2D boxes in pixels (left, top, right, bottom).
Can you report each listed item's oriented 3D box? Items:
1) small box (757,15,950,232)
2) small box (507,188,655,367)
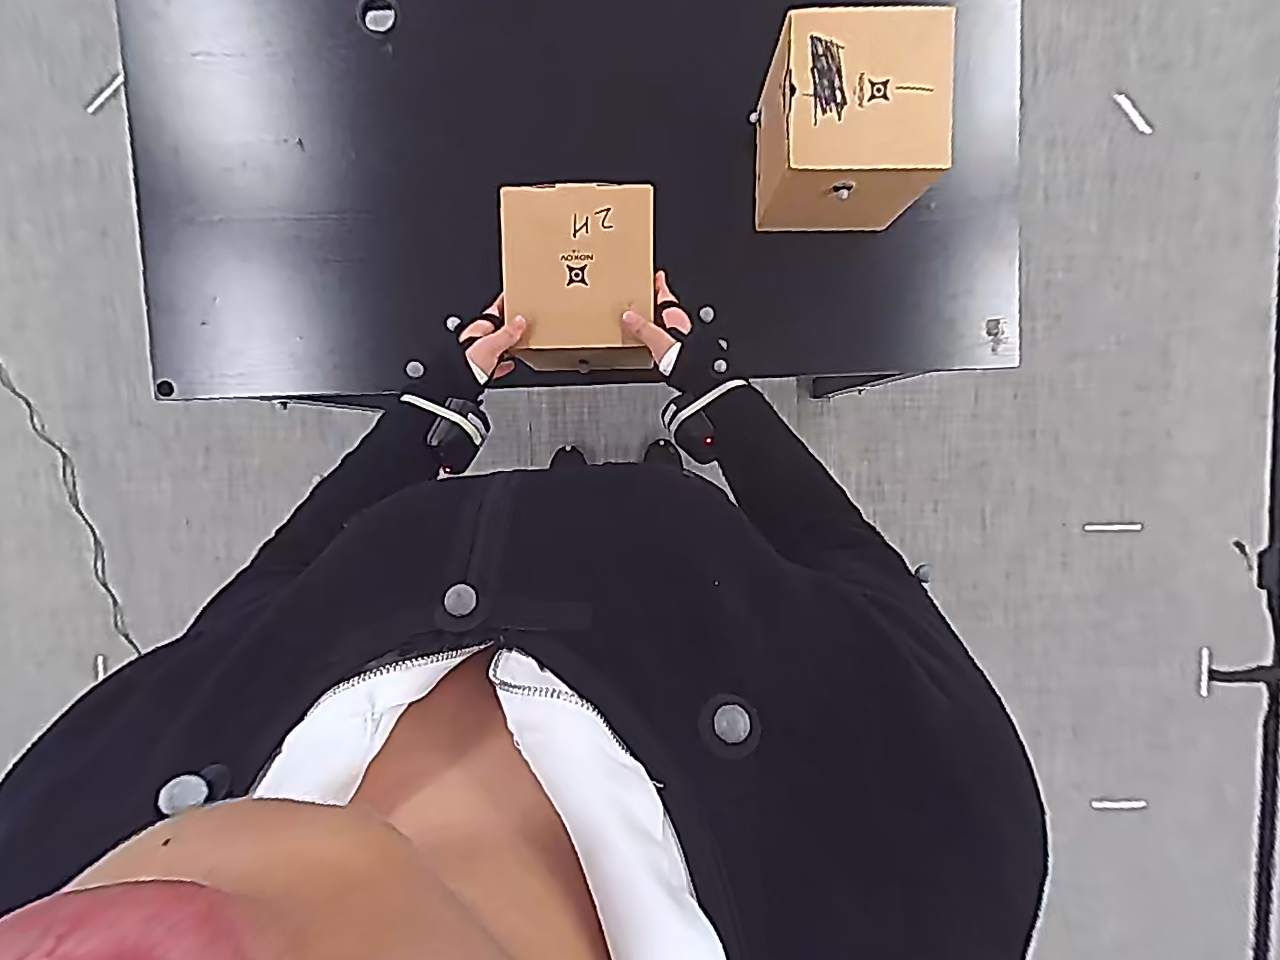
[{"bbox_3d":[0.245,-0.419,0.662,0.179,0.176,0.168,0,93,0],"label":"small box"},{"bbox_3d":[-0.064,-0.238,0.677,0.168,0.176,0.179,-1,93,0],"label":"small box"}]
